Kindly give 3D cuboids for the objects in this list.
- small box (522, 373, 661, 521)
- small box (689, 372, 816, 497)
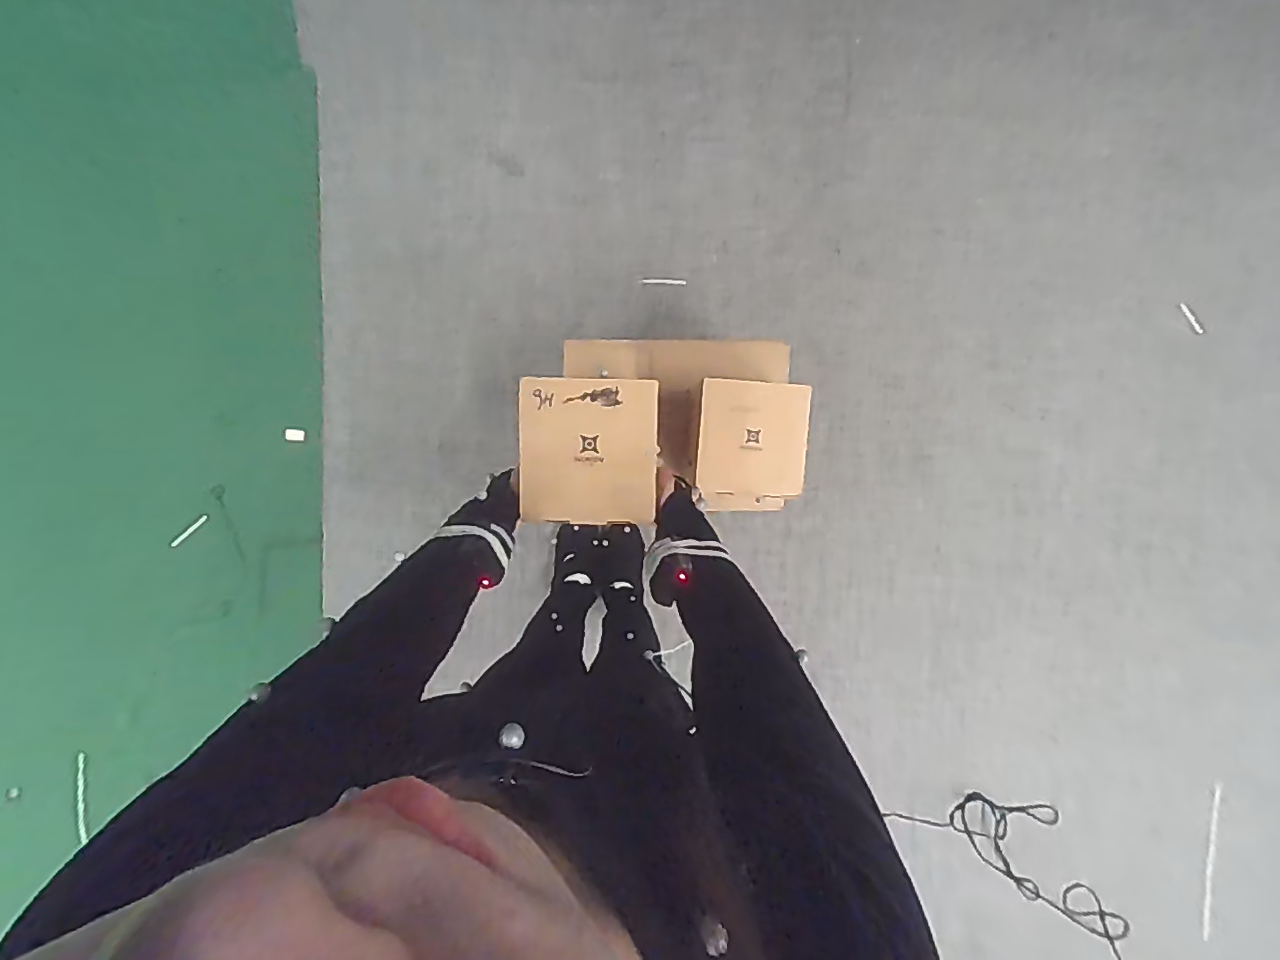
[{"bbox_3d":[-0.060,-0.048,0.726,0.168,0.176,0.179,1,97,-2],"label":"small box"},{"bbox_3d":[0.174,-0.074,0.890,0.168,0.176,0.179,5,94,-1],"label":"small box"}]
